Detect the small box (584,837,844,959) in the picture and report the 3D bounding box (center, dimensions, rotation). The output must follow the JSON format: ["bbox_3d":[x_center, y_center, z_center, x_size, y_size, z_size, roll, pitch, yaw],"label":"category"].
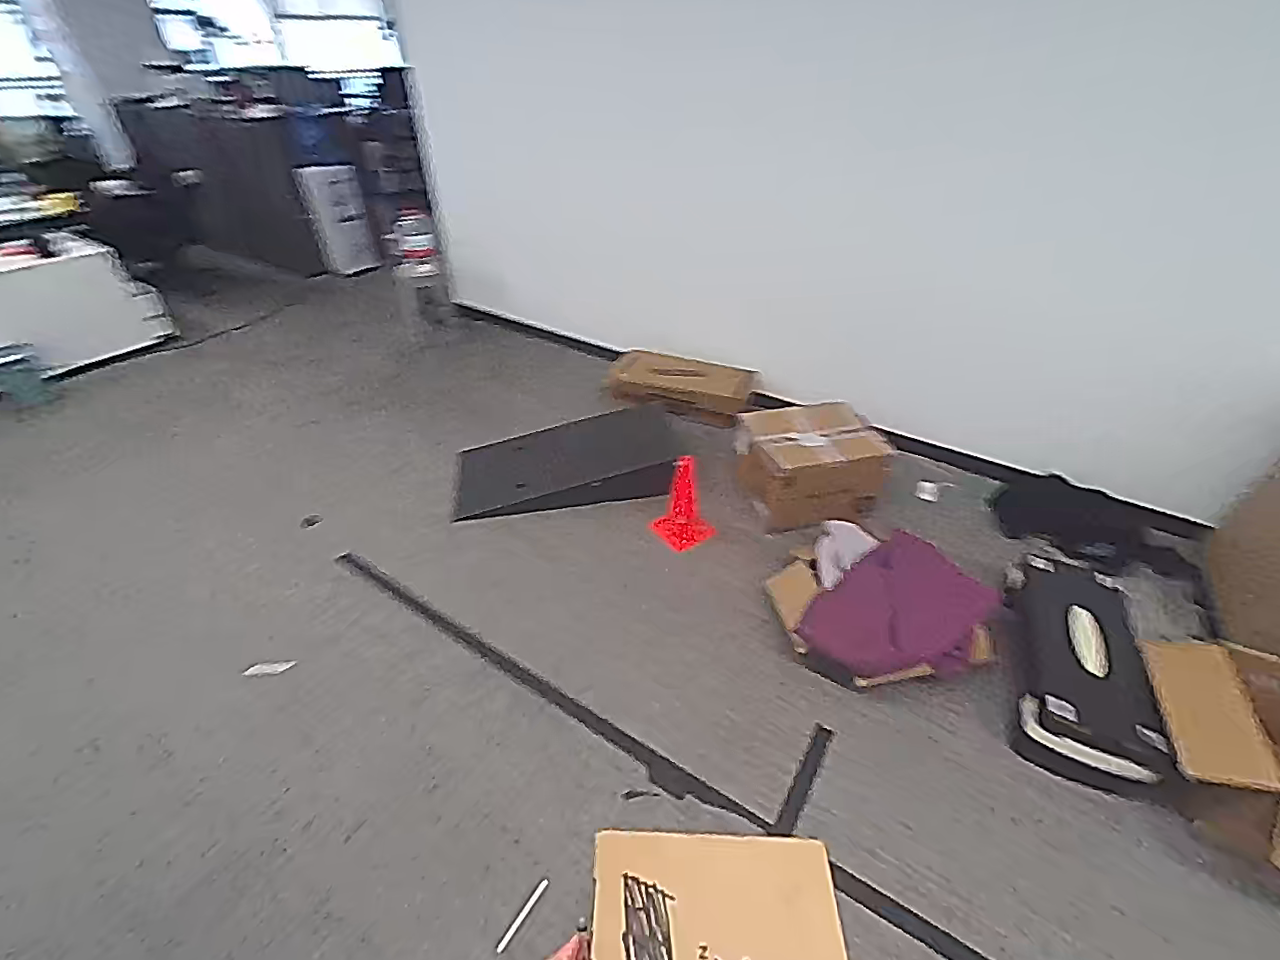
[{"bbox_3d":[0.046,0.387,0.397,0.179,0.176,0.168,3,40,-2],"label":"small box"}]
